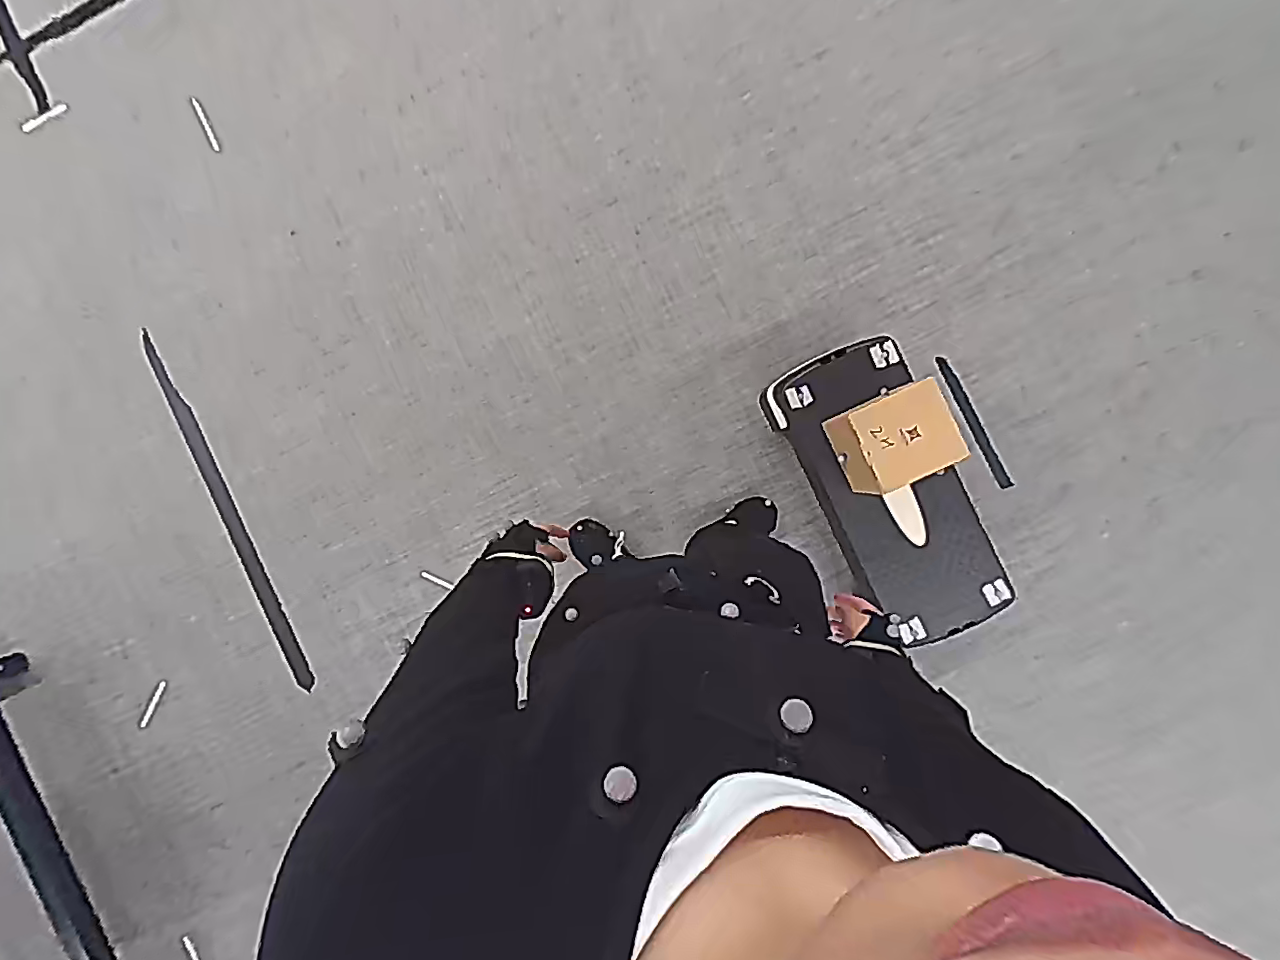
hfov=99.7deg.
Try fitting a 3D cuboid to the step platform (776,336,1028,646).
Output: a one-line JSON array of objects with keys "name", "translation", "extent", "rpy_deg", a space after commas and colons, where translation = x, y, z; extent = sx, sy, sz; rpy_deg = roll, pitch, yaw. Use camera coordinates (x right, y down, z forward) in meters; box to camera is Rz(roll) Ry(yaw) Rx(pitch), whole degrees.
[{"name": "step platform", "translation": [0.586, 0.025, 1.247], "extent": [0.286, 0.204, 0.684], "rpy_deg": [-26, 89, 3]}]

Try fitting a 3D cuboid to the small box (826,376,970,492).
[{"name": "small box", "translation": [0.501, -0.087, 1.076], "extent": [0.179, 0.176, 0.168], "rpy_deg": [-25, 89, 3]}]
